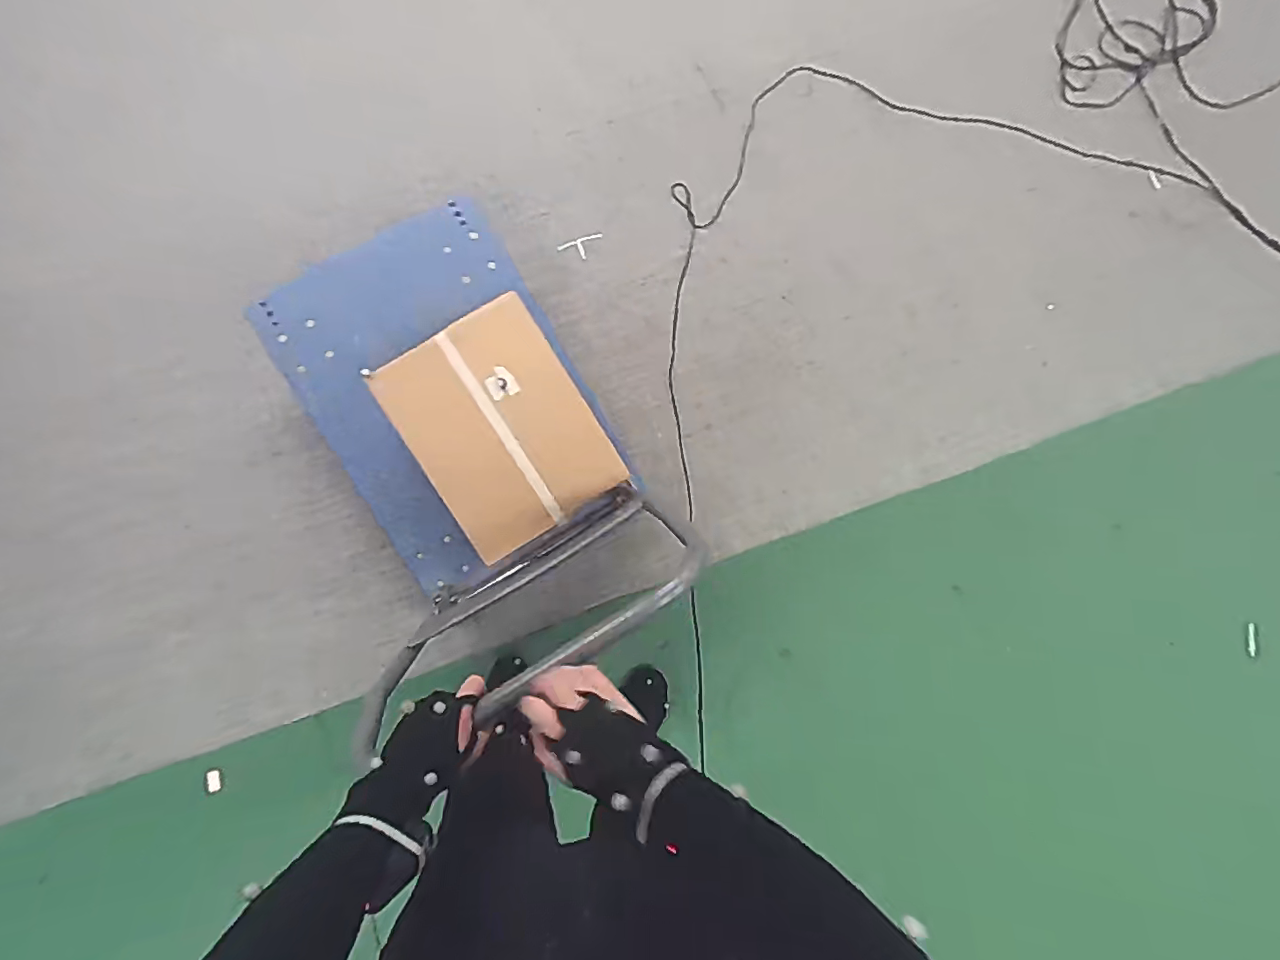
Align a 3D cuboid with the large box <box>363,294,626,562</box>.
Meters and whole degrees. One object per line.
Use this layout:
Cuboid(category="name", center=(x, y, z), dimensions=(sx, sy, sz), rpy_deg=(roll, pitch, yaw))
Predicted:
Cuboid(category="large box", center=(-0.272, -0.094, 1.128), dimensions=(0.320, 0.320, 0.408), rpy_deg=(-33, 93, -6))
